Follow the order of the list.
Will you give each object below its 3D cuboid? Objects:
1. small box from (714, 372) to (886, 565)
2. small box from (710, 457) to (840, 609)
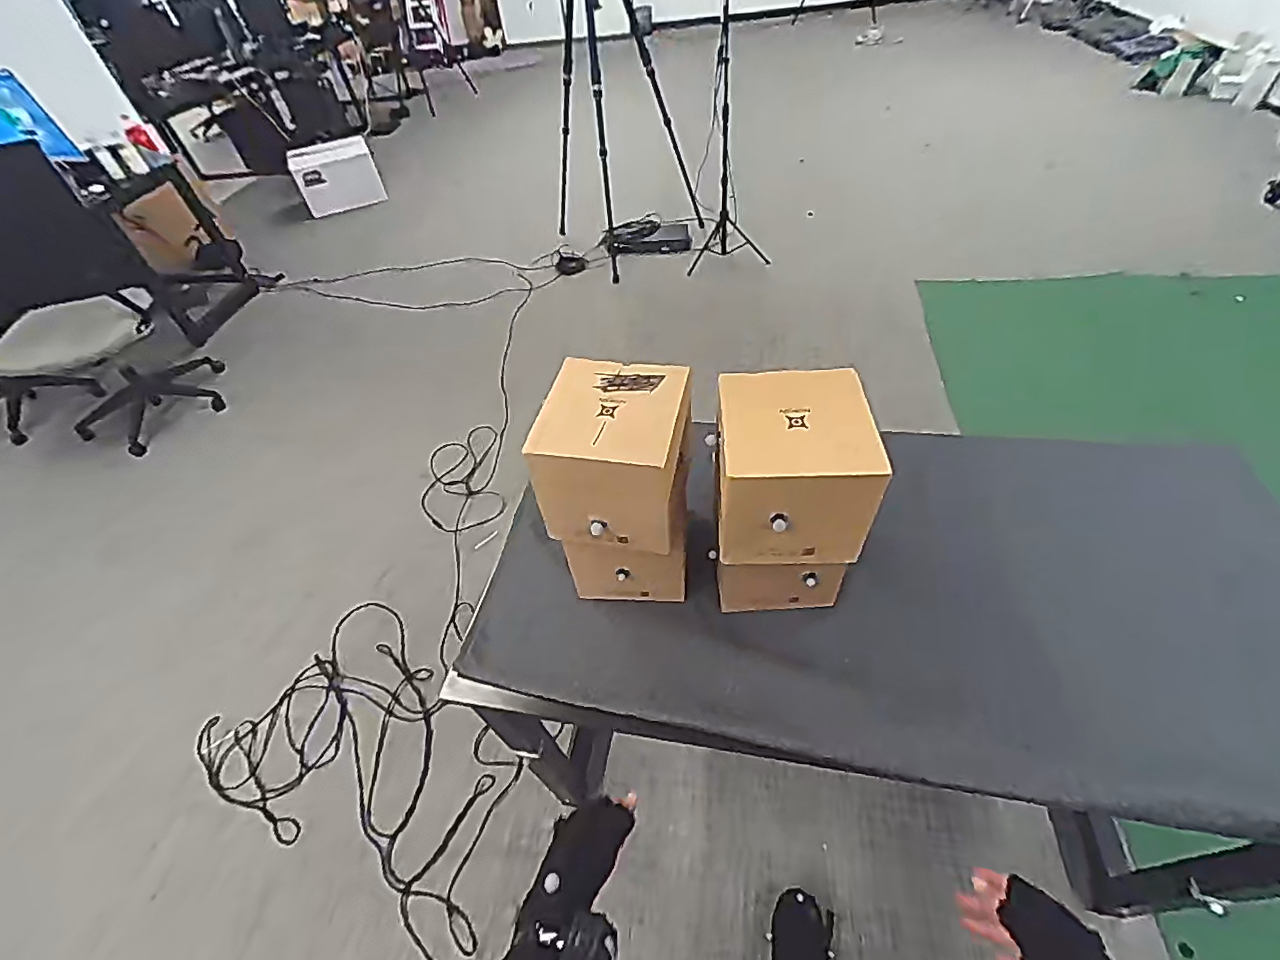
[{"bbox_3d":[0.177,-0.009,0.660,0.168,0.176,0.179,-2,47,5],"label":"small box"},{"bbox_3d":[0.193,0.079,0.798,0.168,0.176,0.179,-3,47,3],"label":"small box"}]
